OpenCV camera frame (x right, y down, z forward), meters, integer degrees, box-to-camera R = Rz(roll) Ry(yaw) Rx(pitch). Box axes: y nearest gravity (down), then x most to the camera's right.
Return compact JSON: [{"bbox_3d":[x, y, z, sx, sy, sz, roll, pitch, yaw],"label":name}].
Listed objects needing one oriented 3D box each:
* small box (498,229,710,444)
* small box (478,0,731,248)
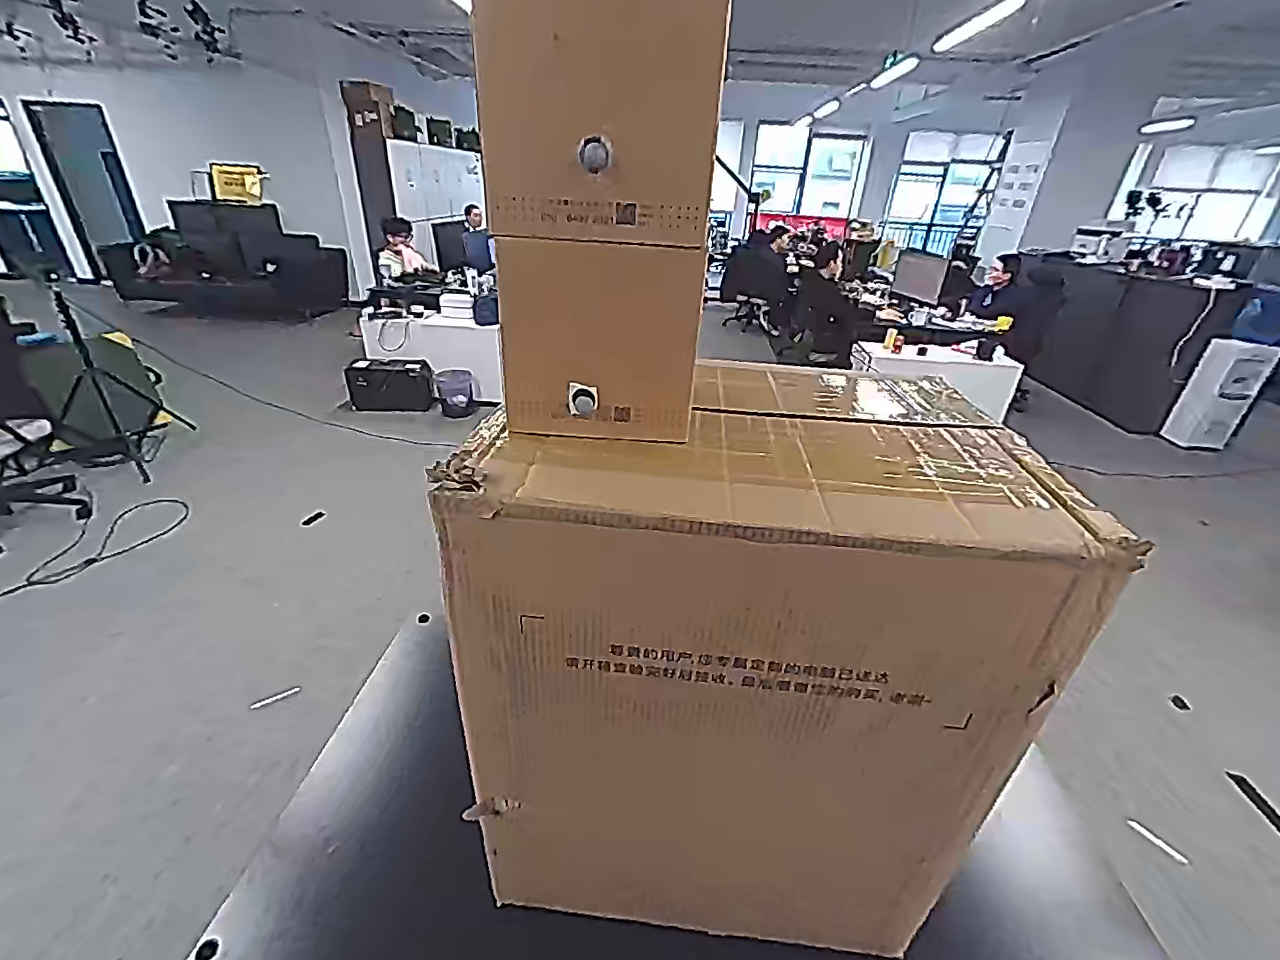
[{"bbox_3d":[-0.032,-0.149,0.520,0.168,0.176,0.179,2,31,-2],"label":"small box"},{"bbox_3d":[-0.026,-0.291,0.437,0.168,0.176,0.179,3,29,0],"label":"small box"}]
